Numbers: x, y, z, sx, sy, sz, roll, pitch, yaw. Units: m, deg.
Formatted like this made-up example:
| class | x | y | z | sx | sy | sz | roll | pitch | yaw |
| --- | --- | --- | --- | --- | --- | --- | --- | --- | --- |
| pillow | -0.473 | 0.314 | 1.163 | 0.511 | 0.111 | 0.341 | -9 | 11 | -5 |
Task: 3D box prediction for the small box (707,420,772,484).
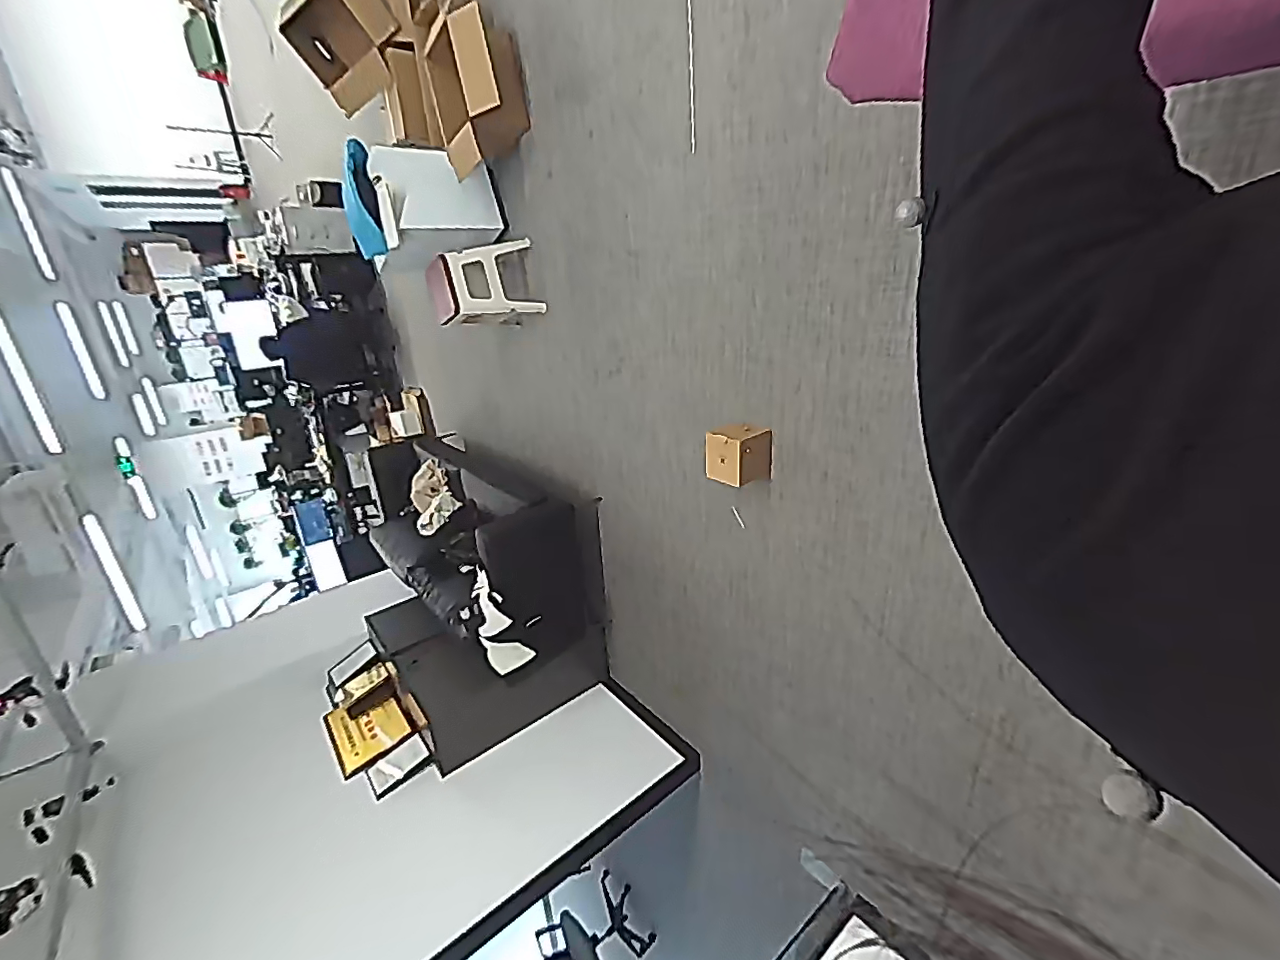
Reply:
| class | x | y | z | sx | sy | sz | roll | pitch | yaw |
| --- | --- | --- | --- | --- | --- | --- | --- | --- | --- |
| small box | 0.360 | -0.106 | 1.959 | 0.168 | 0.176 | 0.179 | 22 | 122 | 47 |
